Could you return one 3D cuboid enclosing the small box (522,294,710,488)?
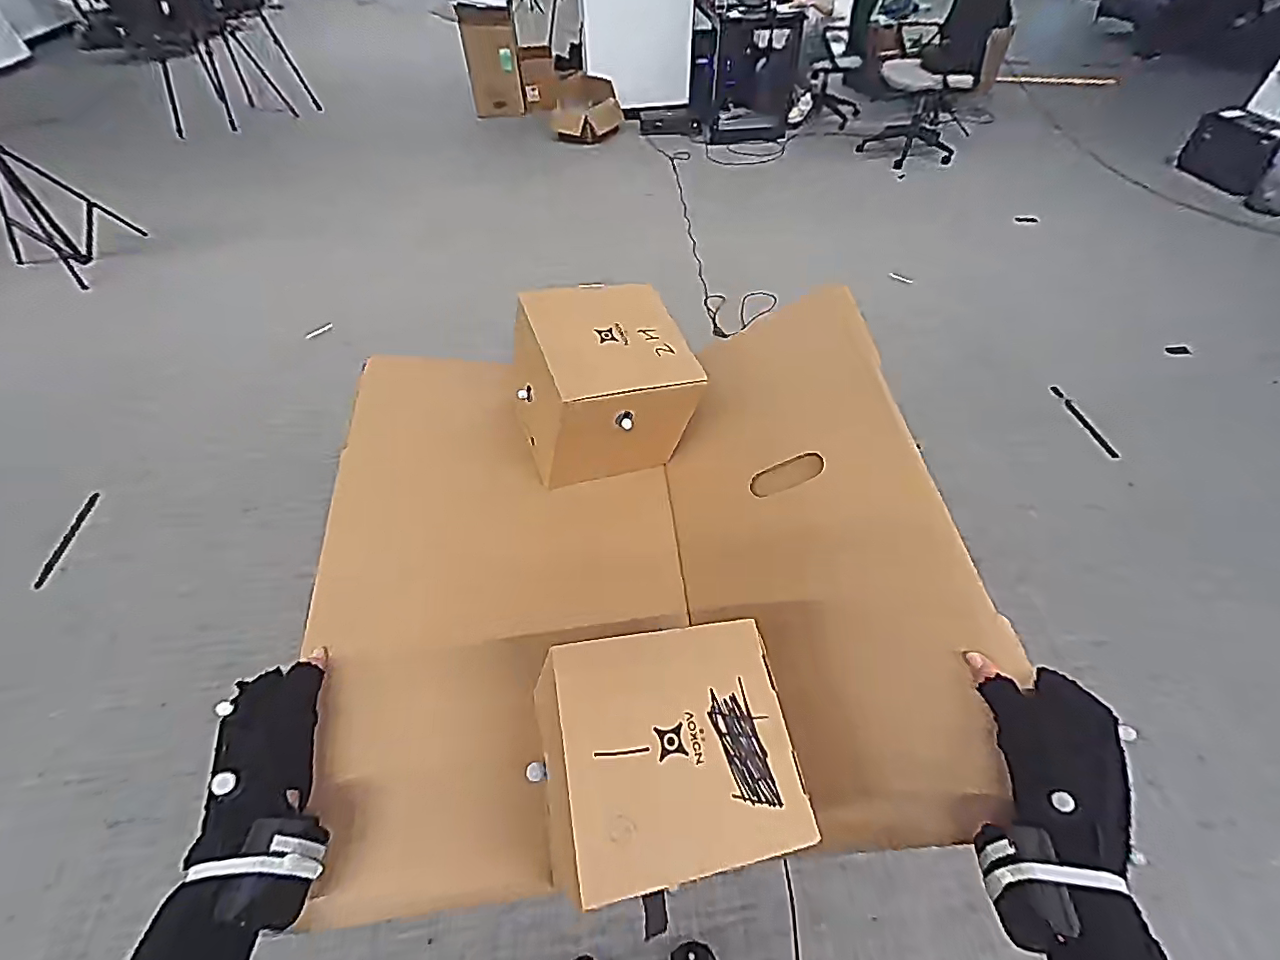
[{"bbox_3d":[-0.044,-0.107,0.675,0.179,0.176,0.168,-11,62,-23],"label":"small box"}]
